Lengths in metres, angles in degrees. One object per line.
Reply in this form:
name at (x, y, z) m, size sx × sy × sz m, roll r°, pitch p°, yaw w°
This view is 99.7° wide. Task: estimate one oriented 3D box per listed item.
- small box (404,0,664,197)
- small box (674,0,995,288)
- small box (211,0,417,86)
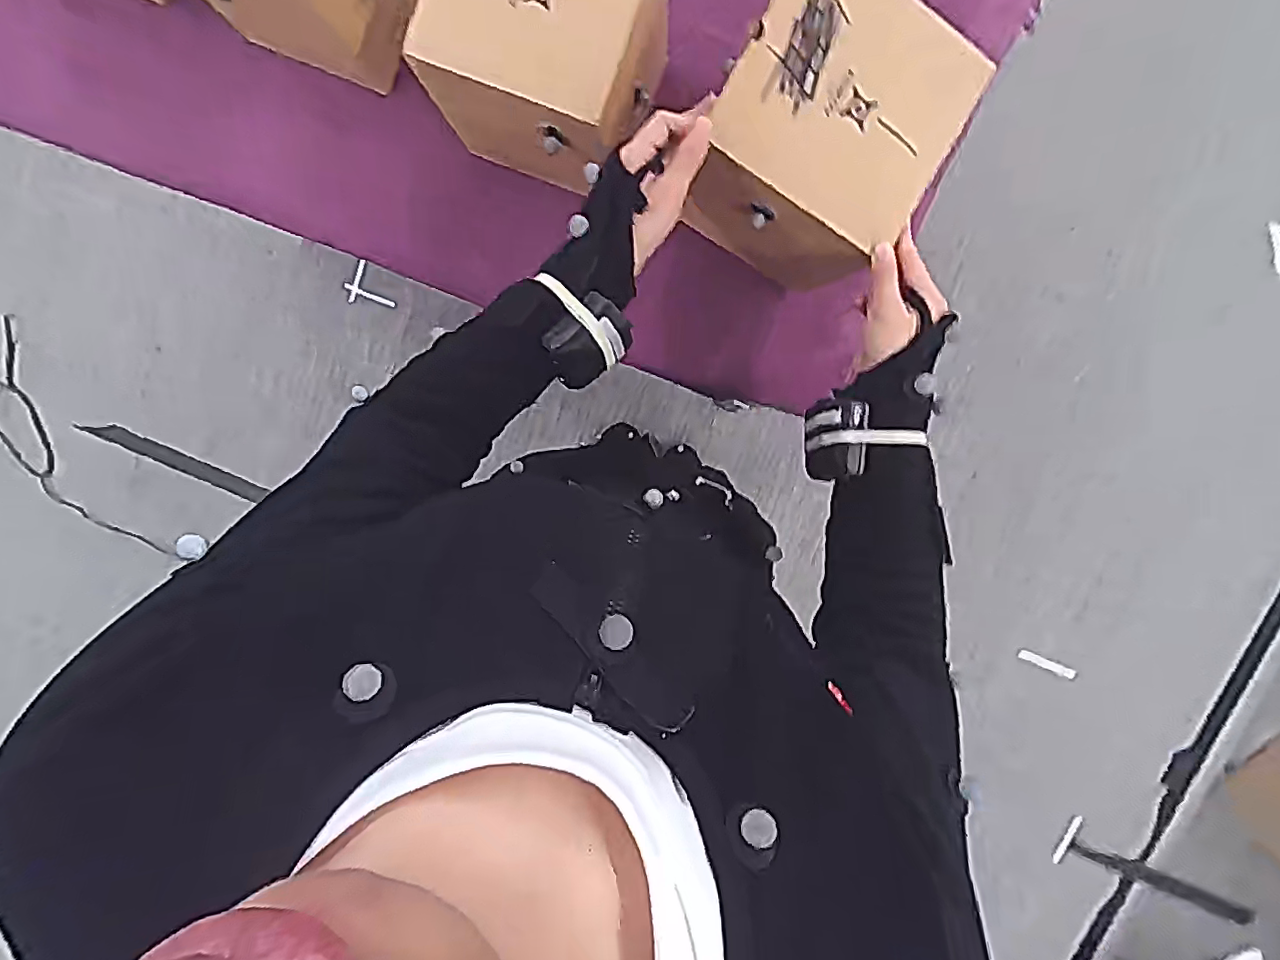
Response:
small box at (-0.082, -0.401, 0.514) m, size 0.179 × 0.176 × 0.168 m, roll 21°, pitch 96°, yaw 1°
small box at (0.148, -0.293, 0.481) m, size 0.179 × 0.176 × 0.168 m, roll 28°, pitch 96°, yaw -10°
small box at (-0.331, -0.527, 0.517) m, size 0.179 × 0.176 × 0.168 m, roll 22°, pitch 97°, yaw 1°
